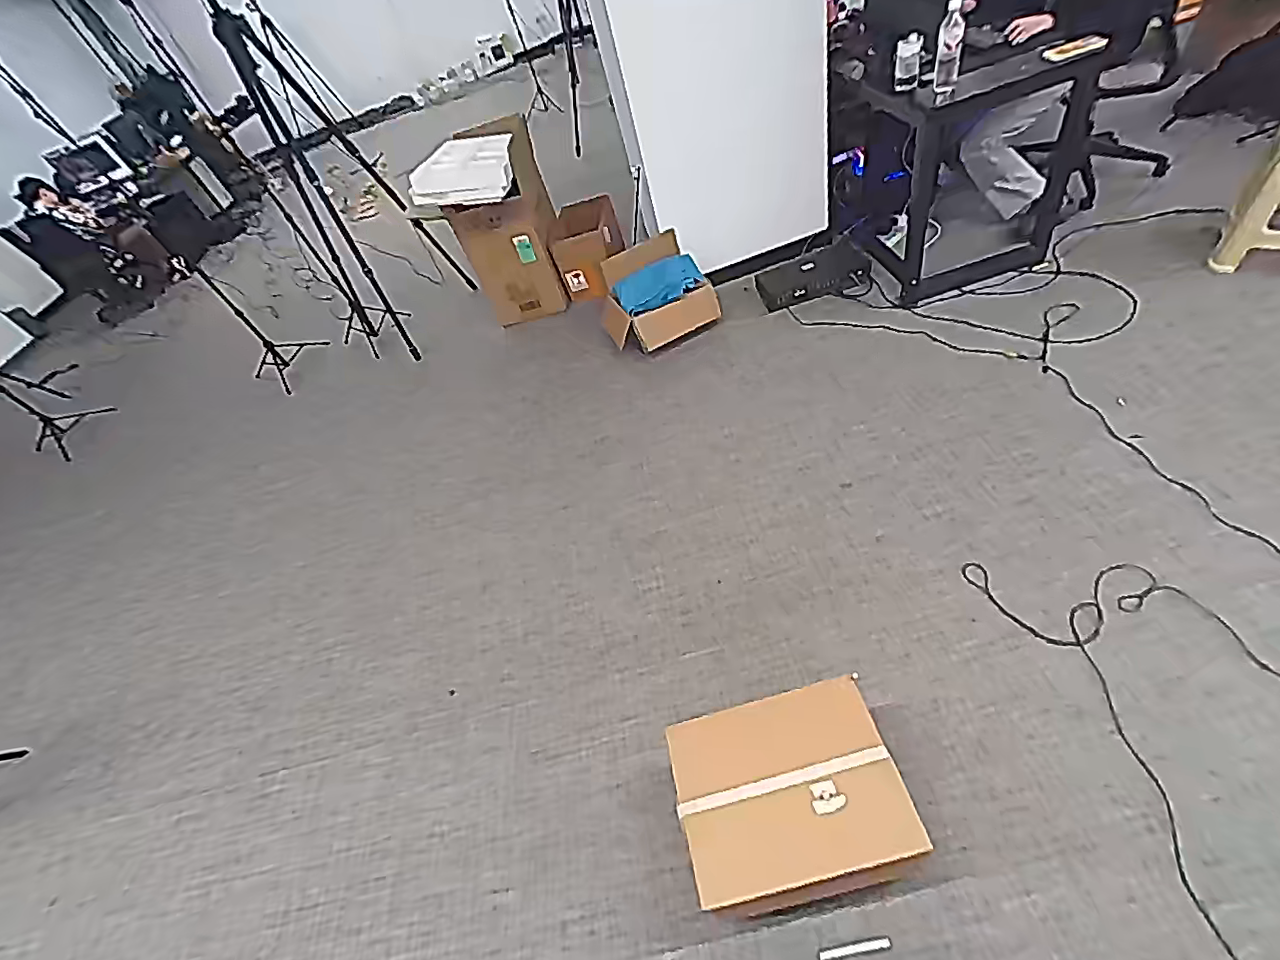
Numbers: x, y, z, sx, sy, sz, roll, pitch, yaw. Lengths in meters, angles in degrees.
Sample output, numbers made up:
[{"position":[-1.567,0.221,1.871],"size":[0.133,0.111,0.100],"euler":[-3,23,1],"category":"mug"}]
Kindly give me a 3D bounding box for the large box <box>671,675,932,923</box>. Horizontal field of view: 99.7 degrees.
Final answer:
[{"position":[0.315,0.667,1.125],"size":[0.408,0.320,0.320],"euler":[-18,46,3],"category":"large box"}]
